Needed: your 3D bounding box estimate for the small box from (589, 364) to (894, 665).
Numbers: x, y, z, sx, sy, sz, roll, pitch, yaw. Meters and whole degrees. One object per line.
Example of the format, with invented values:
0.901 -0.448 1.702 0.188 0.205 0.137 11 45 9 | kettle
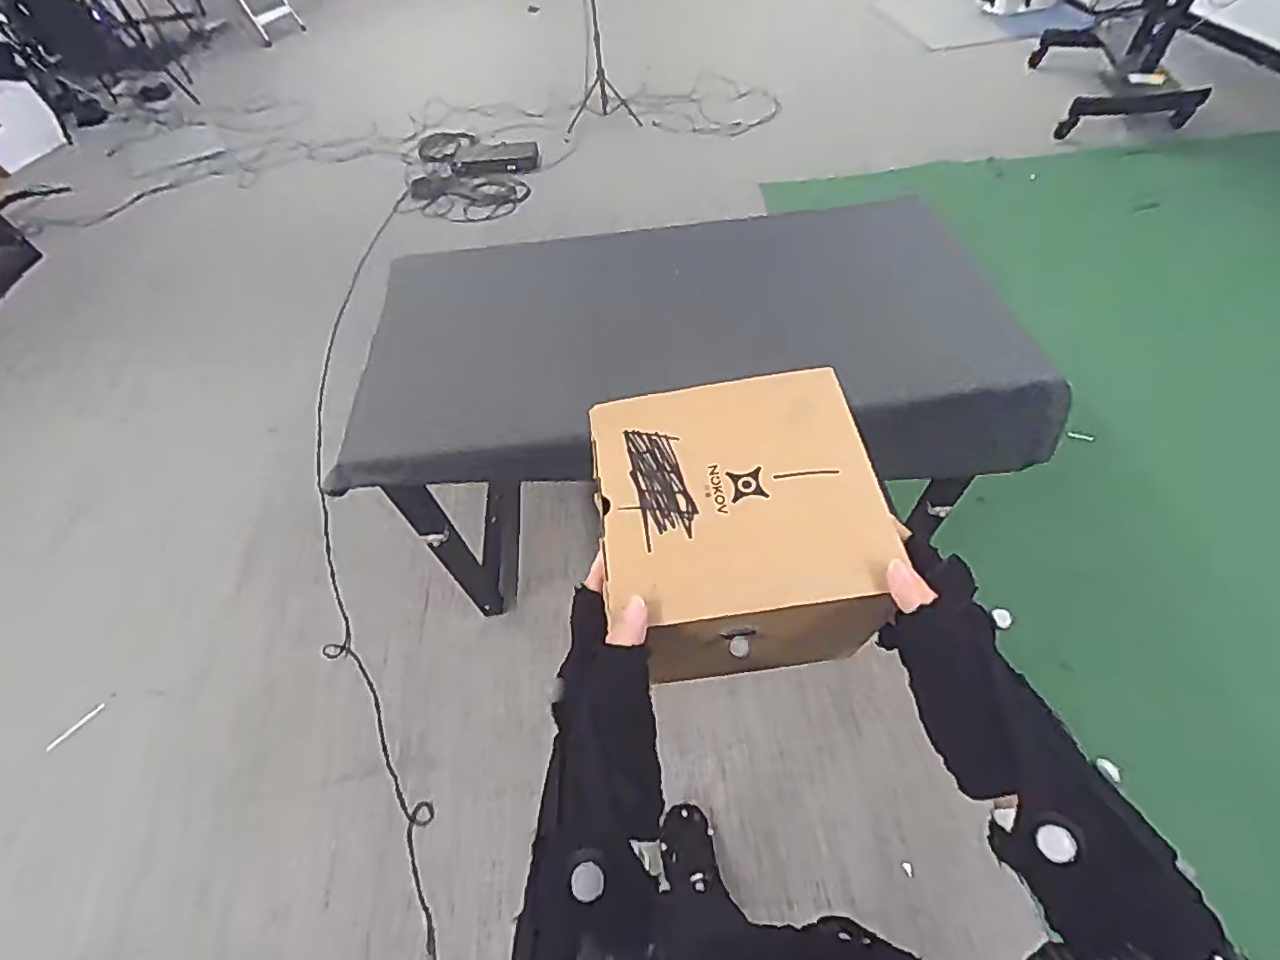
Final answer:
0.064 0.037 0.423 0.179 0.176 0.168 -8 59 2 | small box
